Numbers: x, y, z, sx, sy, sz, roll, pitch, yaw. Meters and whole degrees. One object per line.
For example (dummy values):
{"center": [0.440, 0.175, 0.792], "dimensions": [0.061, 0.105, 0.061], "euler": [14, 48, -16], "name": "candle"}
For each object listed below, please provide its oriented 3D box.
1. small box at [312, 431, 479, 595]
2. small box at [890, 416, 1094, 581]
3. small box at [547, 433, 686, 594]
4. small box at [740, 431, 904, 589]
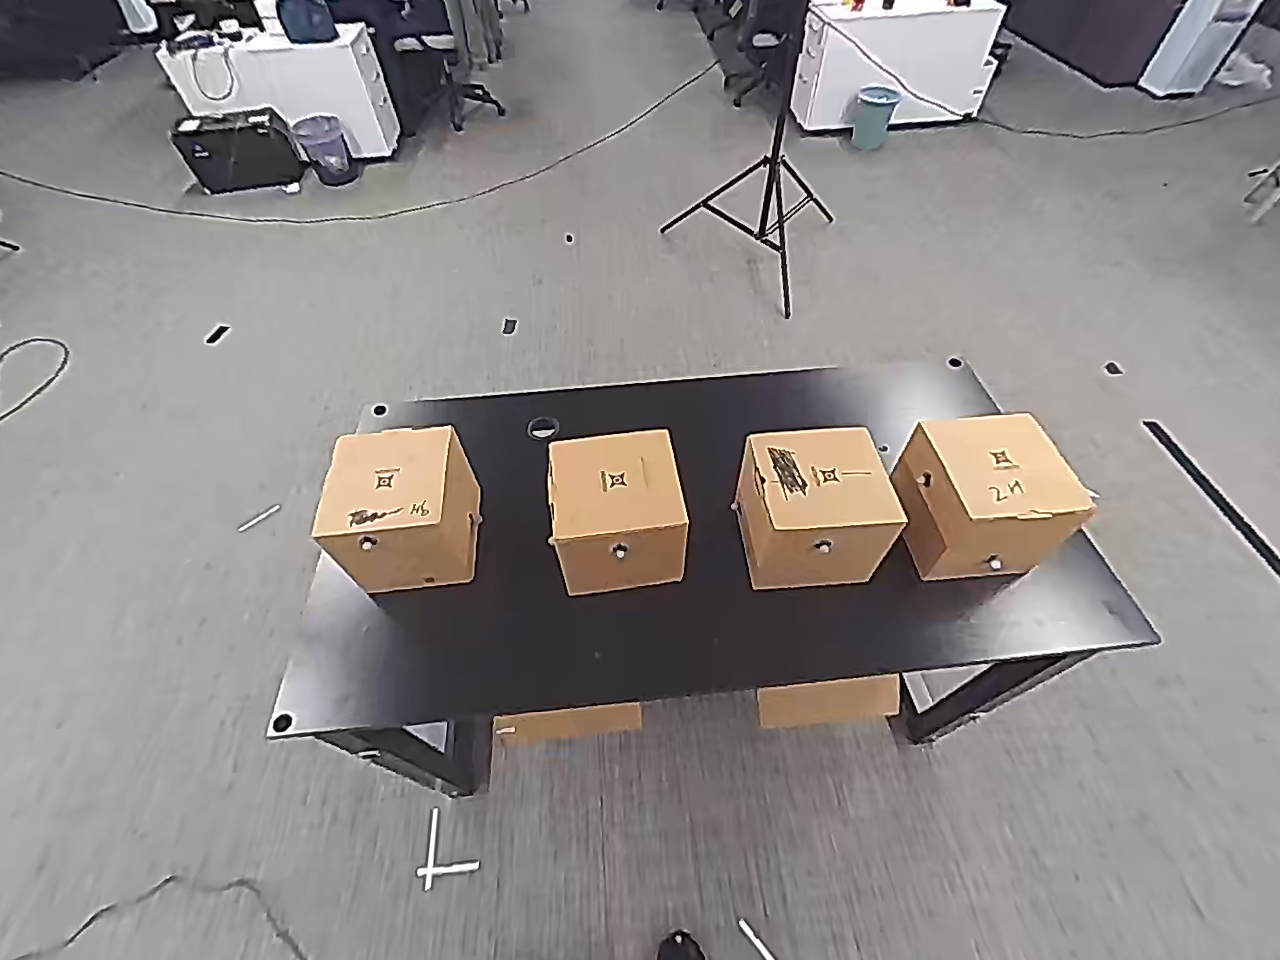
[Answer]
{"center": [-0.345, 0.051, 0.805], "dimensions": [0.168, 0.176, 0.179], "euler": [-6, 52, -3], "name": "small box"}
{"center": [0.490, 0.029, 0.795], "dimensions": [0.168, 0.176, 0.179], "euler": [-5, 52, 0], "name": "small box"}
{"center": [-0.034, 0.054, 0.796], "dimensions": [0.179, 0.176, 0.168], "euler": [-7, 54, -5], "name": "small box"}
{"center": [0.246, 0.049, 0.789], "dimensions": [0.179, 0.176, 0.168], "euler": [-4, 52, -1], "name": "small box"}
